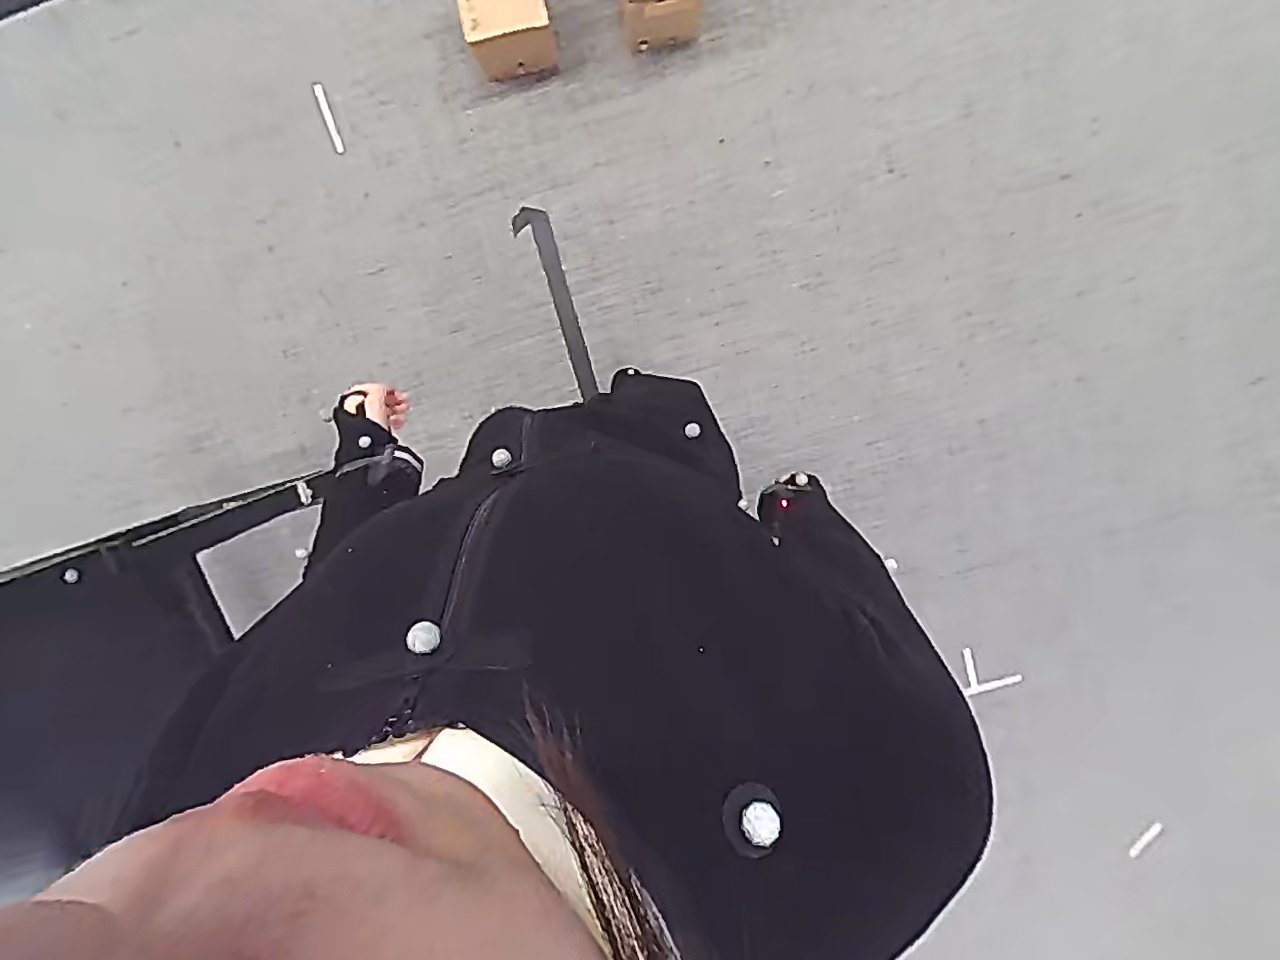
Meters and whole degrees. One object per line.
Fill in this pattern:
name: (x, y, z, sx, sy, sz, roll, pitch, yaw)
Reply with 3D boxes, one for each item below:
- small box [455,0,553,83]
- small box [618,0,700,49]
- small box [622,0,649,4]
small box: (-0.290, -1.001, 1.167, 0.179, 0.176, 0.168, -11, 103, 2)
small box: (0.035, -1.062, 1.153, 0.168, 0.176, 0.179, -10, 102, 2)
small box: (0.037, -1.030, 0.993, 0.179, 0.176, 0.168, -8, 102, 2)
